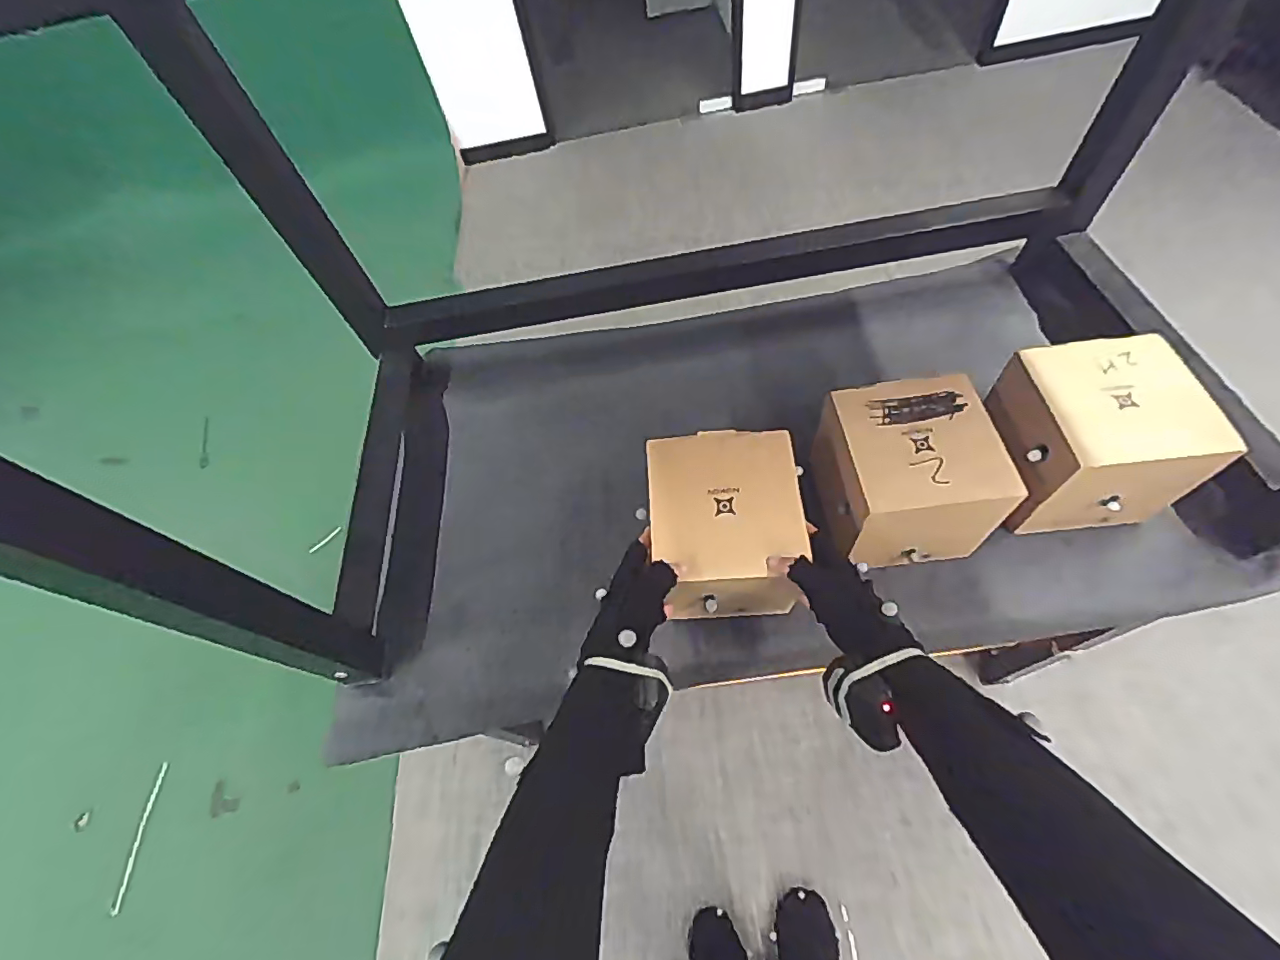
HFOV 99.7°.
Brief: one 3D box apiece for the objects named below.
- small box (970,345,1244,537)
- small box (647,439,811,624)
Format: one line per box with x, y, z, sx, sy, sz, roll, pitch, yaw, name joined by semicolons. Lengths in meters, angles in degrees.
0.554;-0.039;0.678;0.168;0.176;0.179;-6;57;5;small box
0.100;0.072;0.659;0.168;0.176;0.179;-4;61;4;small box
